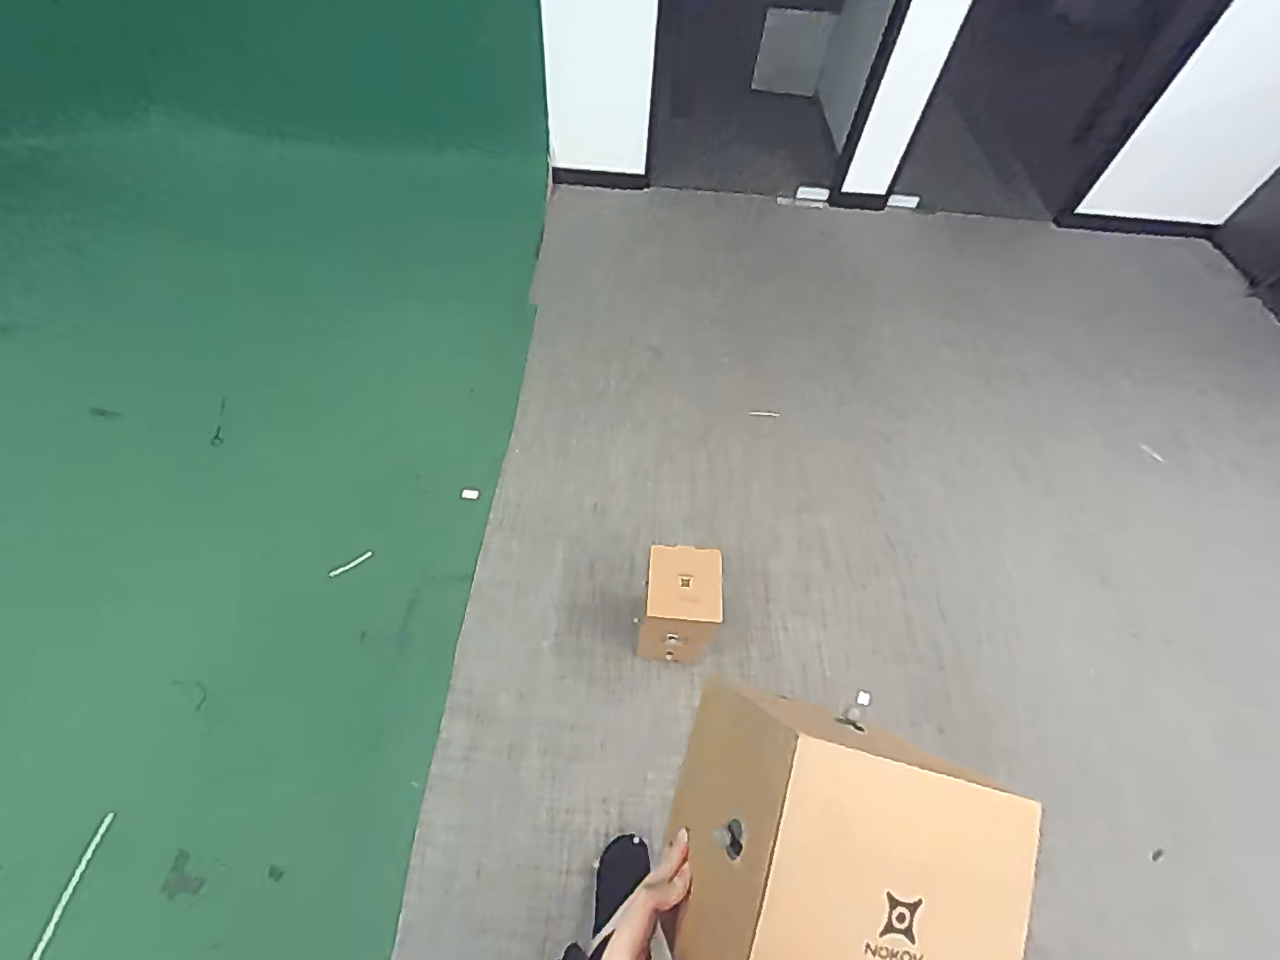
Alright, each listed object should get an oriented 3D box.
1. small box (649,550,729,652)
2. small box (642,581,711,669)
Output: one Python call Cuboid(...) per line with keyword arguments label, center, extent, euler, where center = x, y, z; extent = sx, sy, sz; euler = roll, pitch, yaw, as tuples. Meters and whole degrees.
Cuboid(label="small box", center=(0.109, 0.282, 1.254), extent=(0.168, 0.176, 0.179), euler=(4, 56, 0))
Cuboid(label="small box", center=(0.097, 0.373, 1.389), extent=(0.168, 0.176, 0.179), euler=(8, 56, 1))
